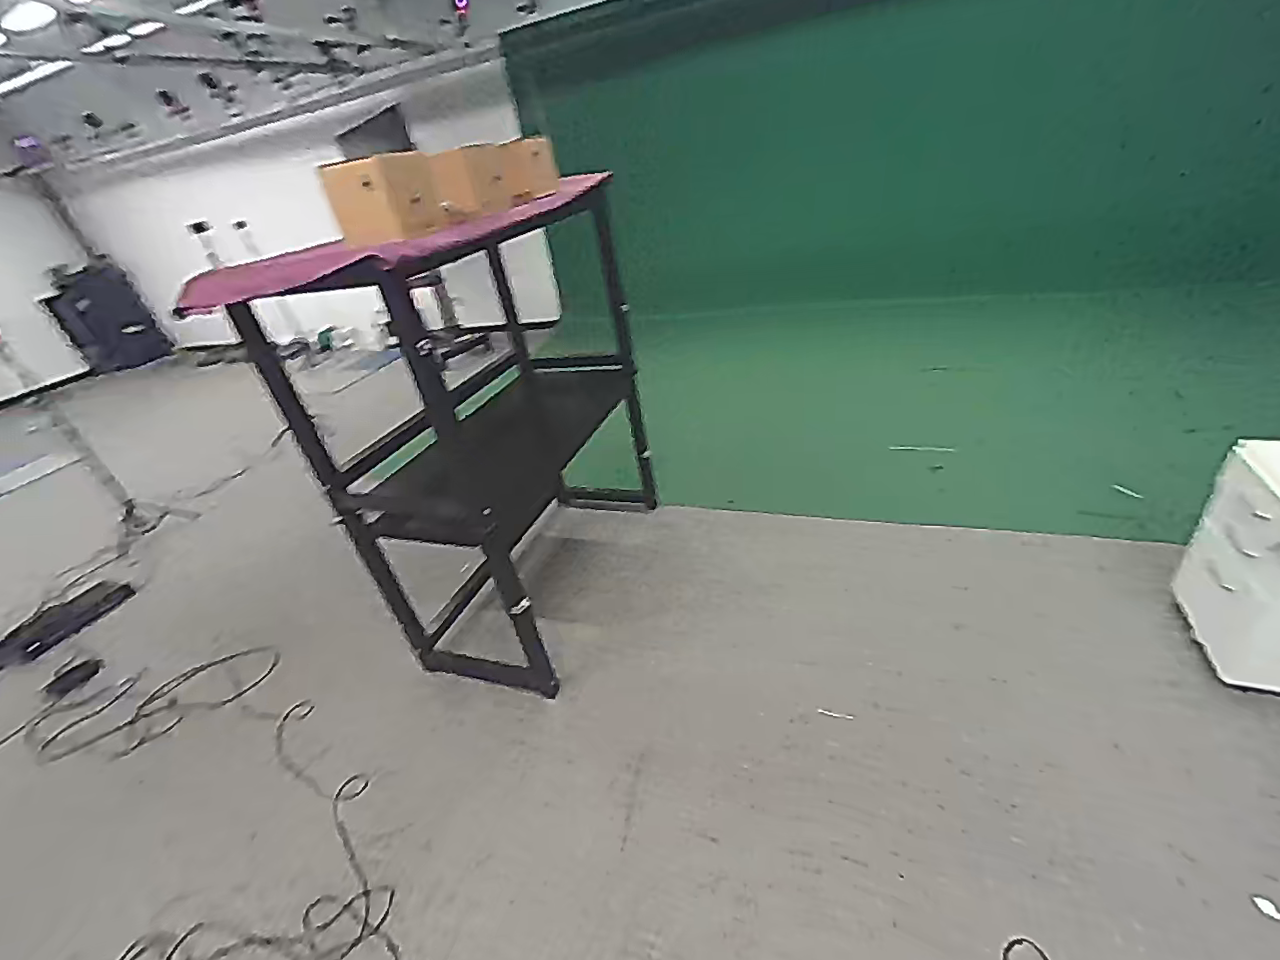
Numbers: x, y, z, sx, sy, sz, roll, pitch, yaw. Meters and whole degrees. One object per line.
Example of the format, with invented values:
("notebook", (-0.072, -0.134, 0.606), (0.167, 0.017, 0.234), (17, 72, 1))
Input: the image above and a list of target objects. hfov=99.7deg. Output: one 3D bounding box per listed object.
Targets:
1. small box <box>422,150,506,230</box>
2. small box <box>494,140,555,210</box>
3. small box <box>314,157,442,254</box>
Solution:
("small box", (-0.492, -0.801, 1.498), (0.168, 0.176, 0.179), (2, 34, 21))
("small box", (-0.401, -0.994, 1.774), (0.168, 0.176, 0.179), (2, 34, 24))
("small box", (-0.591, -0.629, 1.244), (0.179, 0.176, 0.168), (2, 33, 20))
